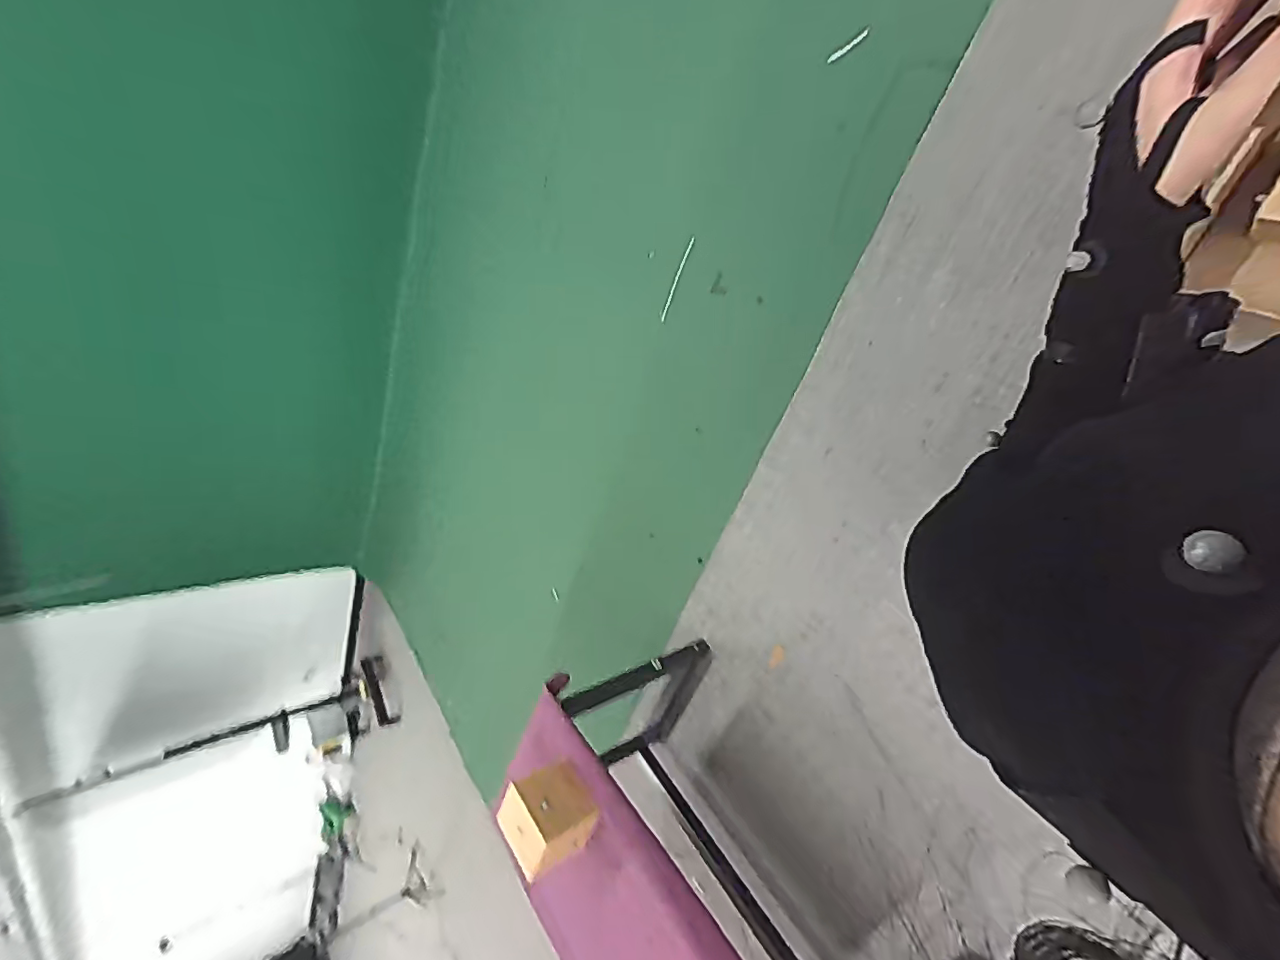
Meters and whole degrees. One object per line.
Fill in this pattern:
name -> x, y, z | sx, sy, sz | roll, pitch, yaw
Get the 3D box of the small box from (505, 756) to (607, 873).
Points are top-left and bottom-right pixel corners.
small box -> -0.218, 0.850, 1.400 | 0.179, 0.176, 0.168 | 40, 120, 35

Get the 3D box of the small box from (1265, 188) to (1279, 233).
small box -> 1.132, -0.470, 0.831 | 0.179, 0.176, 0.168 | 35, 120, 36

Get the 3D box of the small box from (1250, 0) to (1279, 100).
small box -> 0.417, -0.303, 0.241 | 0.168, 0.176, 0.179 | 10, 106, 41
